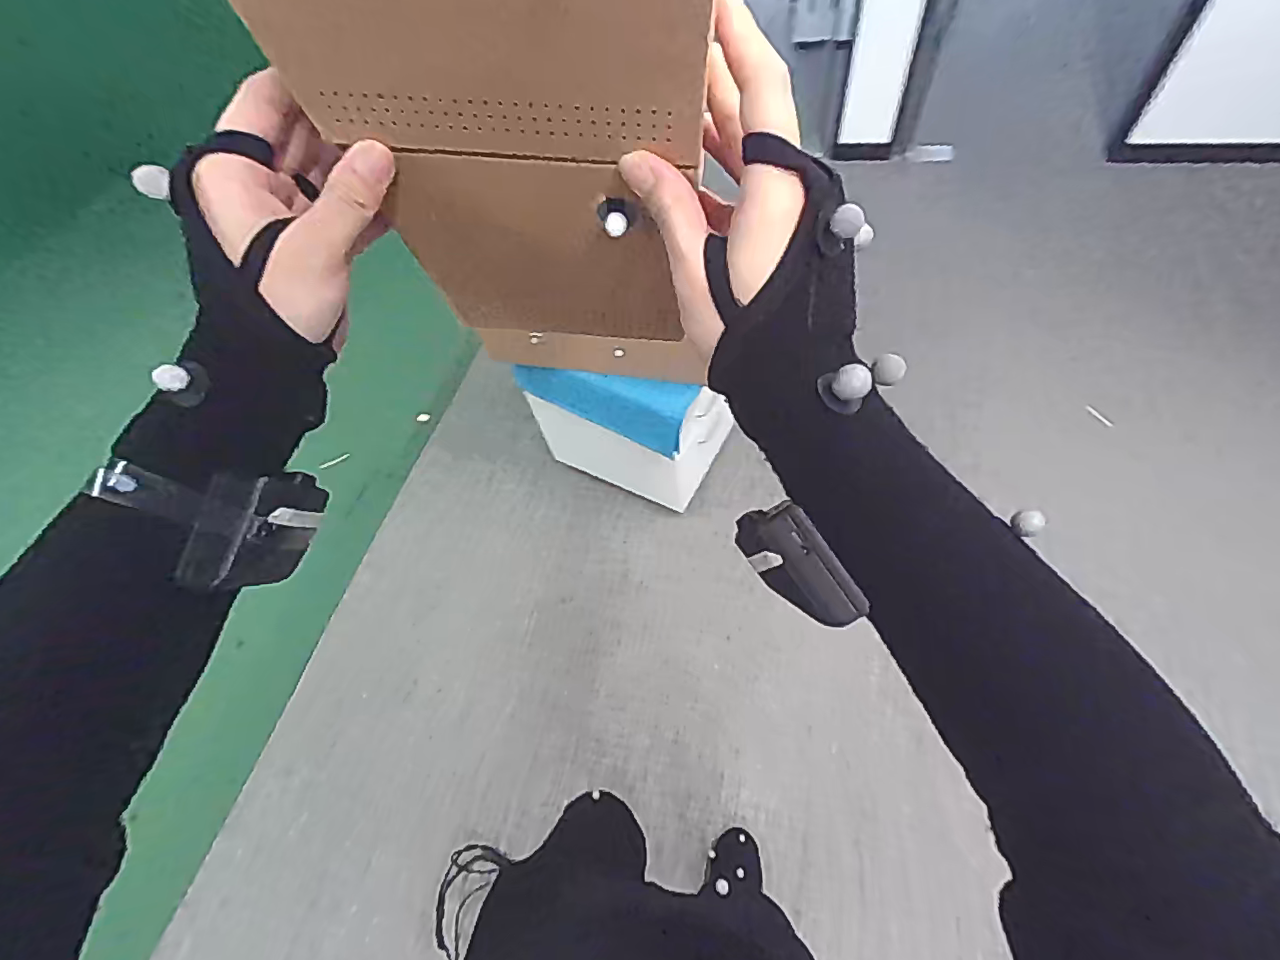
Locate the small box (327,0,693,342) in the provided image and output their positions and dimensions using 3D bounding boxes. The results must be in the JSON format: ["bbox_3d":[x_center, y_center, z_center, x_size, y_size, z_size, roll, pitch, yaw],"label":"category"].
[{"bbox_3d":[-0.059,-0.205,0.358,0.179,0.176,0.168,4,76,3],"label":"small box"}]
